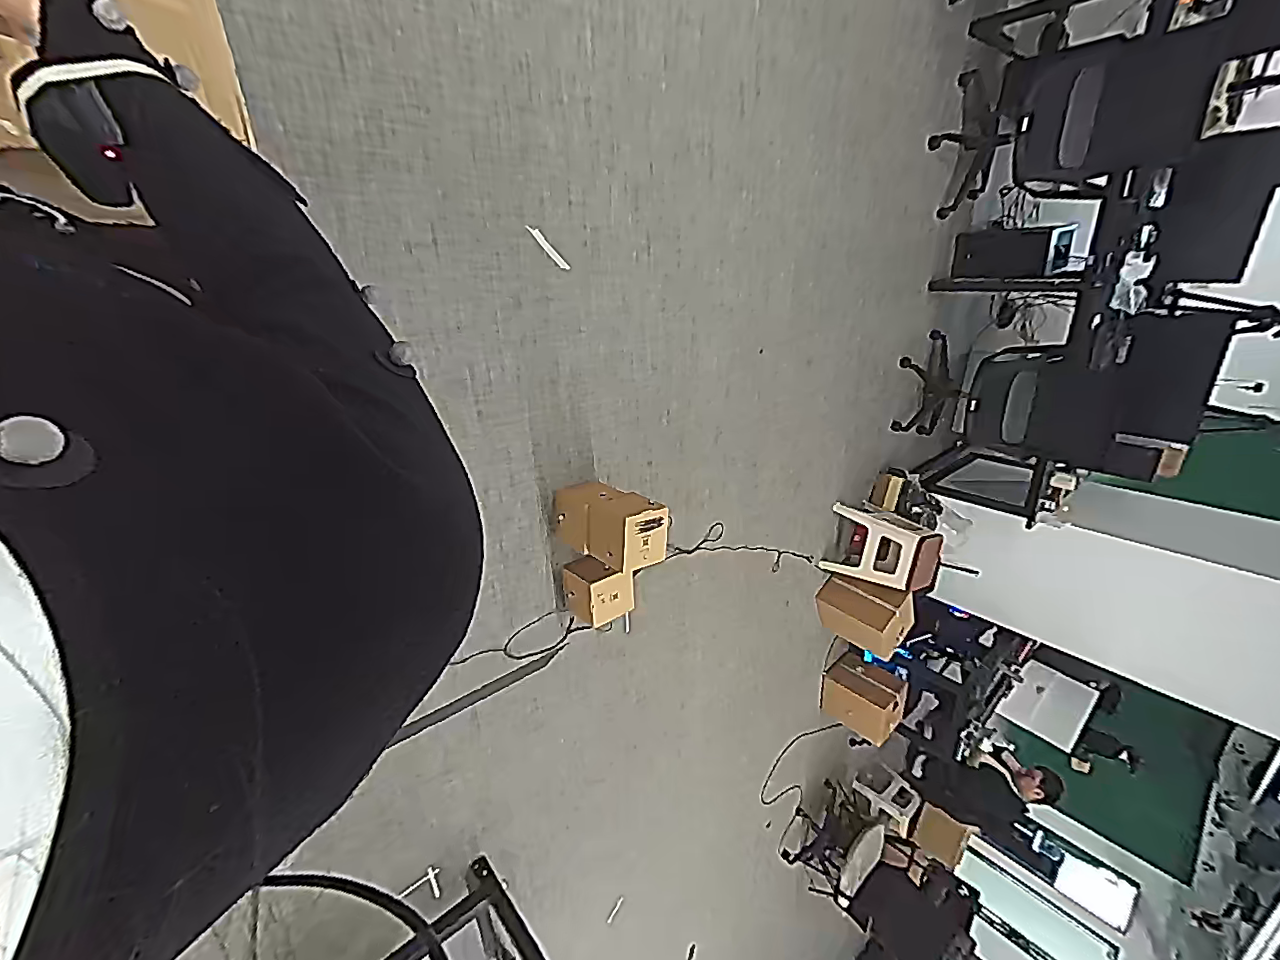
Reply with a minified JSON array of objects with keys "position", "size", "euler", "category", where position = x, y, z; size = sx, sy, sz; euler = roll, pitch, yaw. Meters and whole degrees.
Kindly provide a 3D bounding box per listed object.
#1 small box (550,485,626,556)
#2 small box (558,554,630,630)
[{"position":[-0.168,0.121,1.722],"size":[0.179,0.176,0.168],"euler":[-10,110,-39],"category":"small box"},{"position":[-0.155,0.368,1.818],"size":[0.179,0.176,0.168],"euler":[-17,114,-38],"category":"small box"}]
